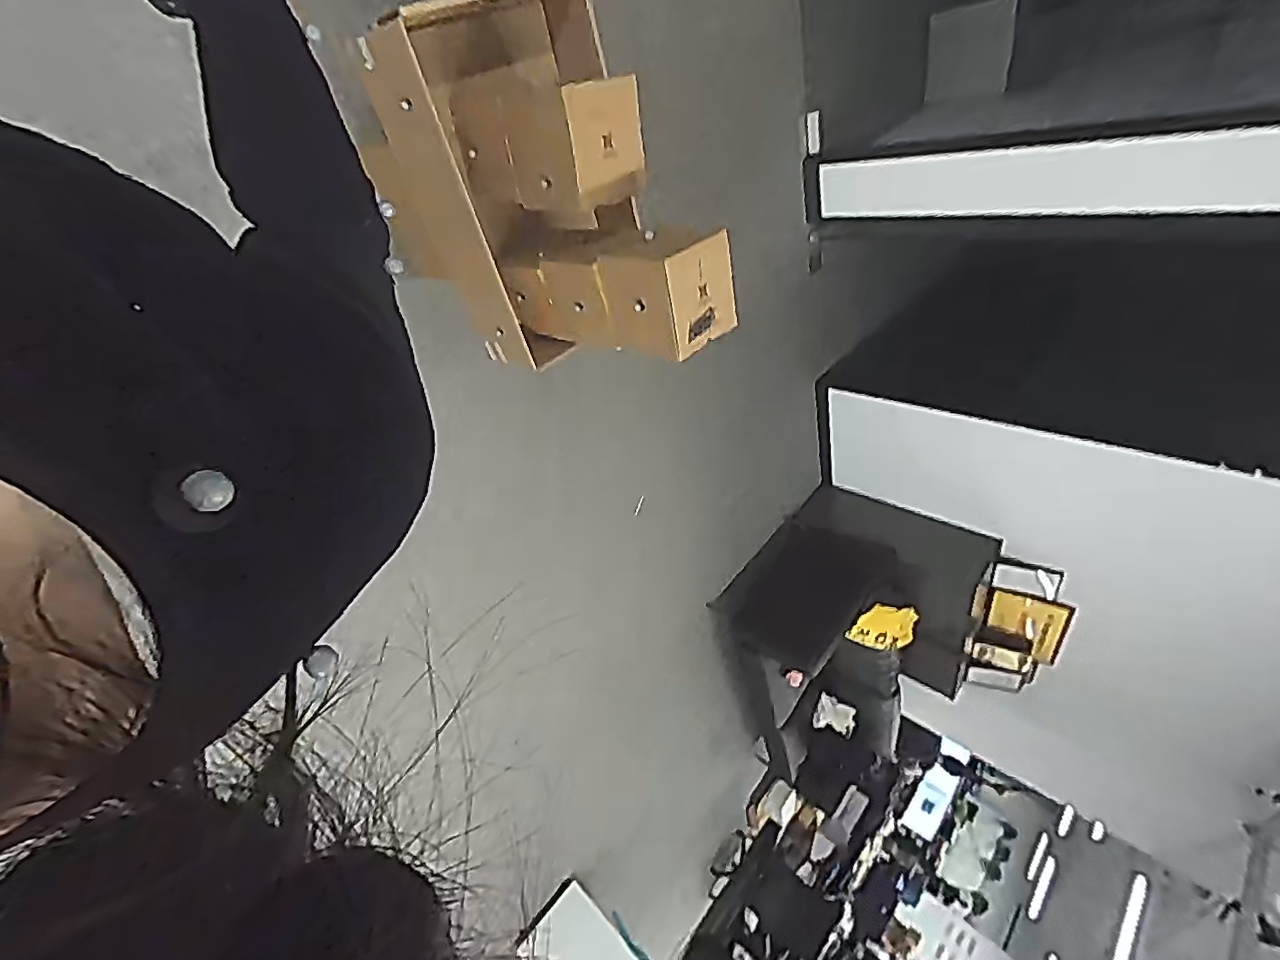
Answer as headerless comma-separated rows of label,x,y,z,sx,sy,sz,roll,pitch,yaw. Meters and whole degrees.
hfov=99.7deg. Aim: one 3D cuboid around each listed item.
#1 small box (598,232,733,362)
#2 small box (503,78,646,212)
small box,0.048,-0.339,0.983,0.168,0.176,0.179,-37,132,-30
small box,-0.111,-0.583,0.944,0.168,0.176,0.179,-36,134,-33
